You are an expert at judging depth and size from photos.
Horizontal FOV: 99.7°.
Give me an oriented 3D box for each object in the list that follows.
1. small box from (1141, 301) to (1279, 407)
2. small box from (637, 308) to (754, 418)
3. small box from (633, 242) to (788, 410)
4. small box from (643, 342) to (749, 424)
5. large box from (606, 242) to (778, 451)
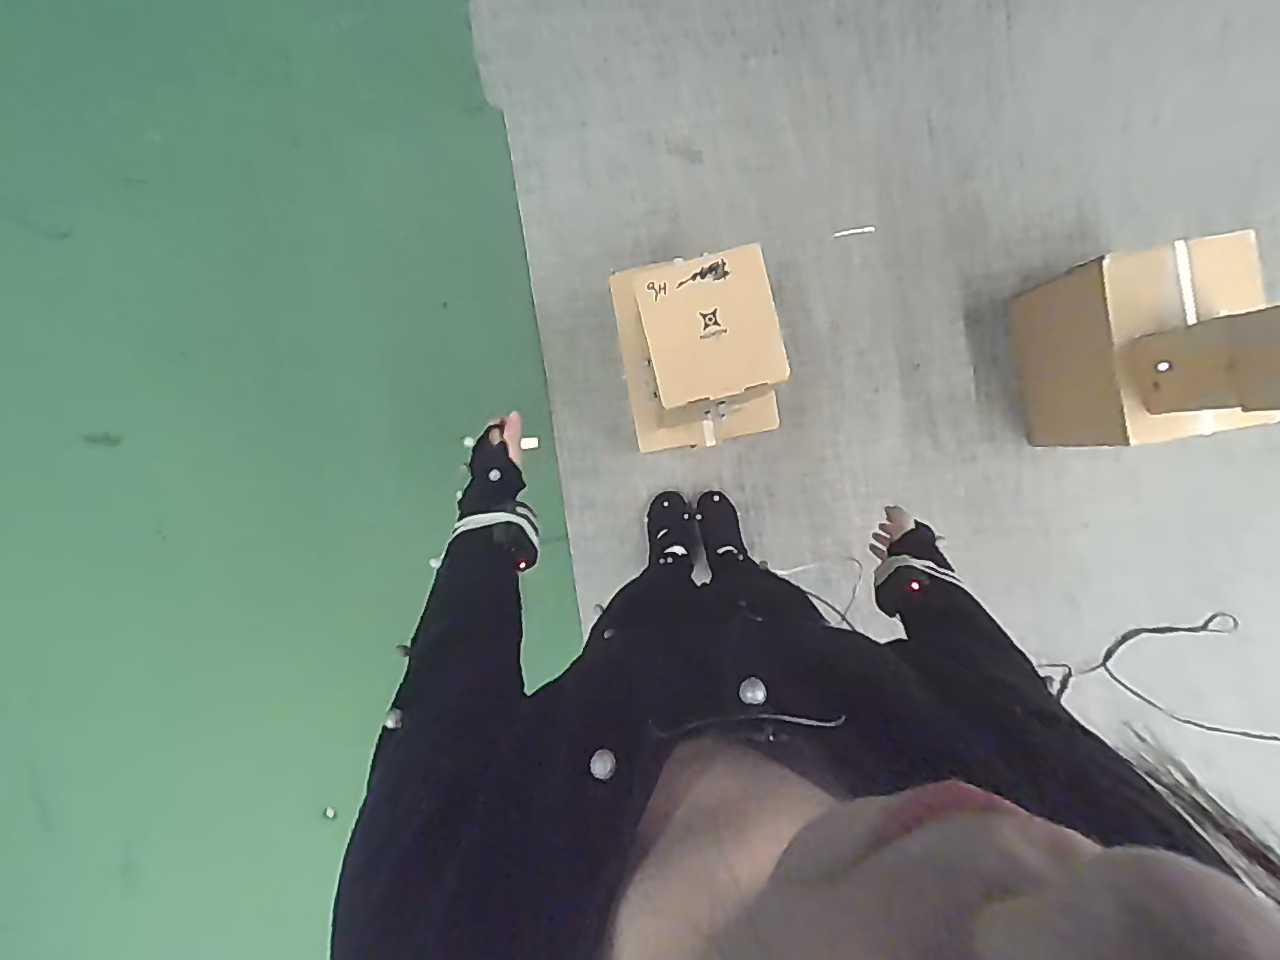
[{"bbox_3d":[1.131,-0.240,1.039,0.179,0.176,0.168,-12,93,4],"label":"small box"},{"bbox_3d":[0.099,-0.208,0.918,0.168,0.176,0.179,-16,91,3],"label":"small box"},{"bbox_3d":[0.093,-0.198,0.753,0.168,0.176,0.179,-13,93,3],"label":"small box"},{"bbox_3d":[0.107,-0.210,1.081,0.179,0.176,0.168,-11,92,4],"label":"small box"},{"bbox_3d":[0.122,-0.295,1.320,0.320,0.320,0.408,-10,92,3],"label":"large box"}]
